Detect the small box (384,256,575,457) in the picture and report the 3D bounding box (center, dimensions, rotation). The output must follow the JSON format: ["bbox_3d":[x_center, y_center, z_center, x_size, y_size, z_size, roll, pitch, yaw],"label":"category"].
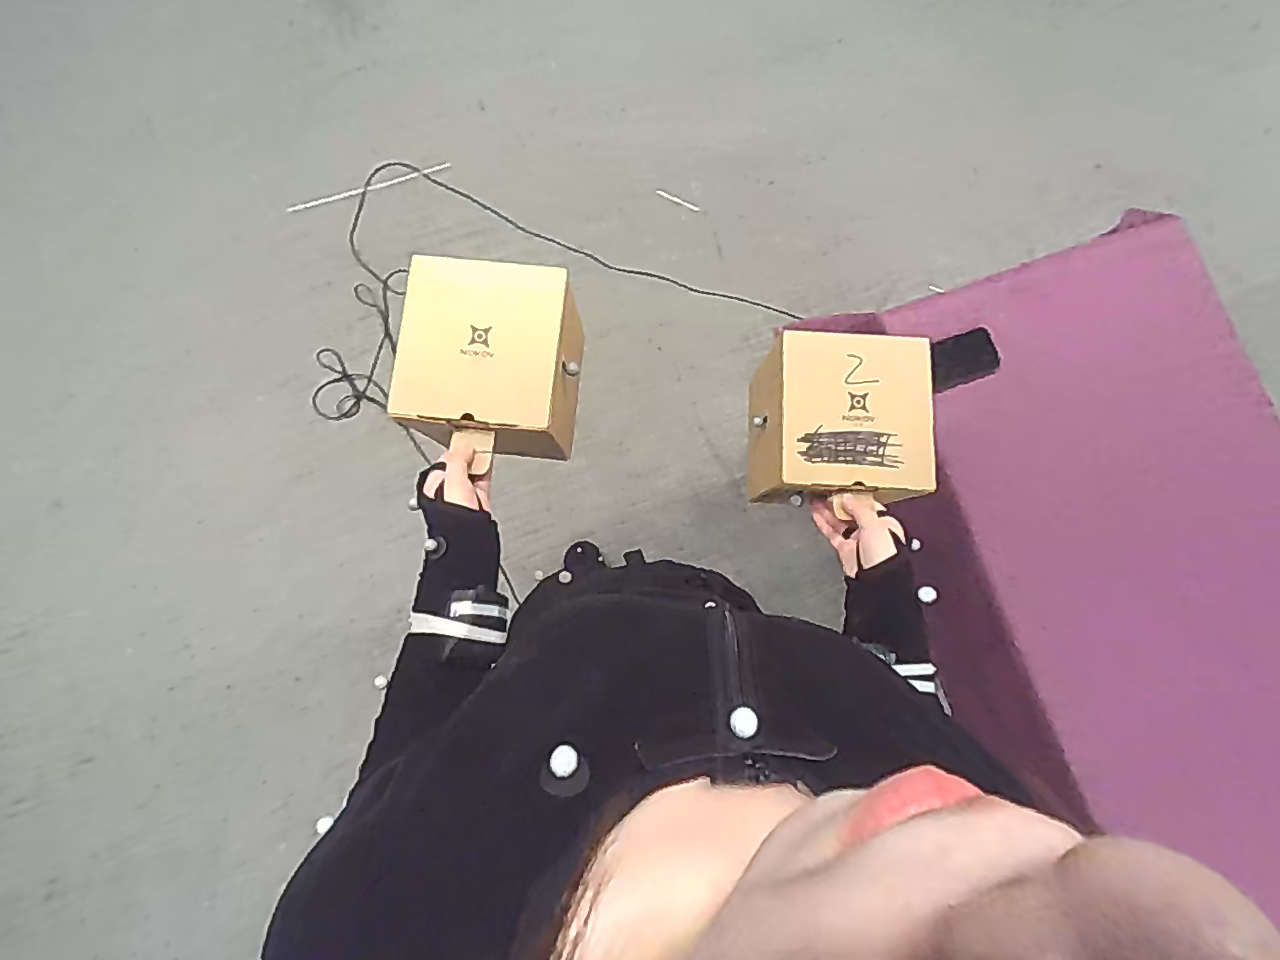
[{"bbox_3d":[-0.173,-0.133,0.639,0.168,0.176,0.179,5,83,1],"label":"small box"}]
